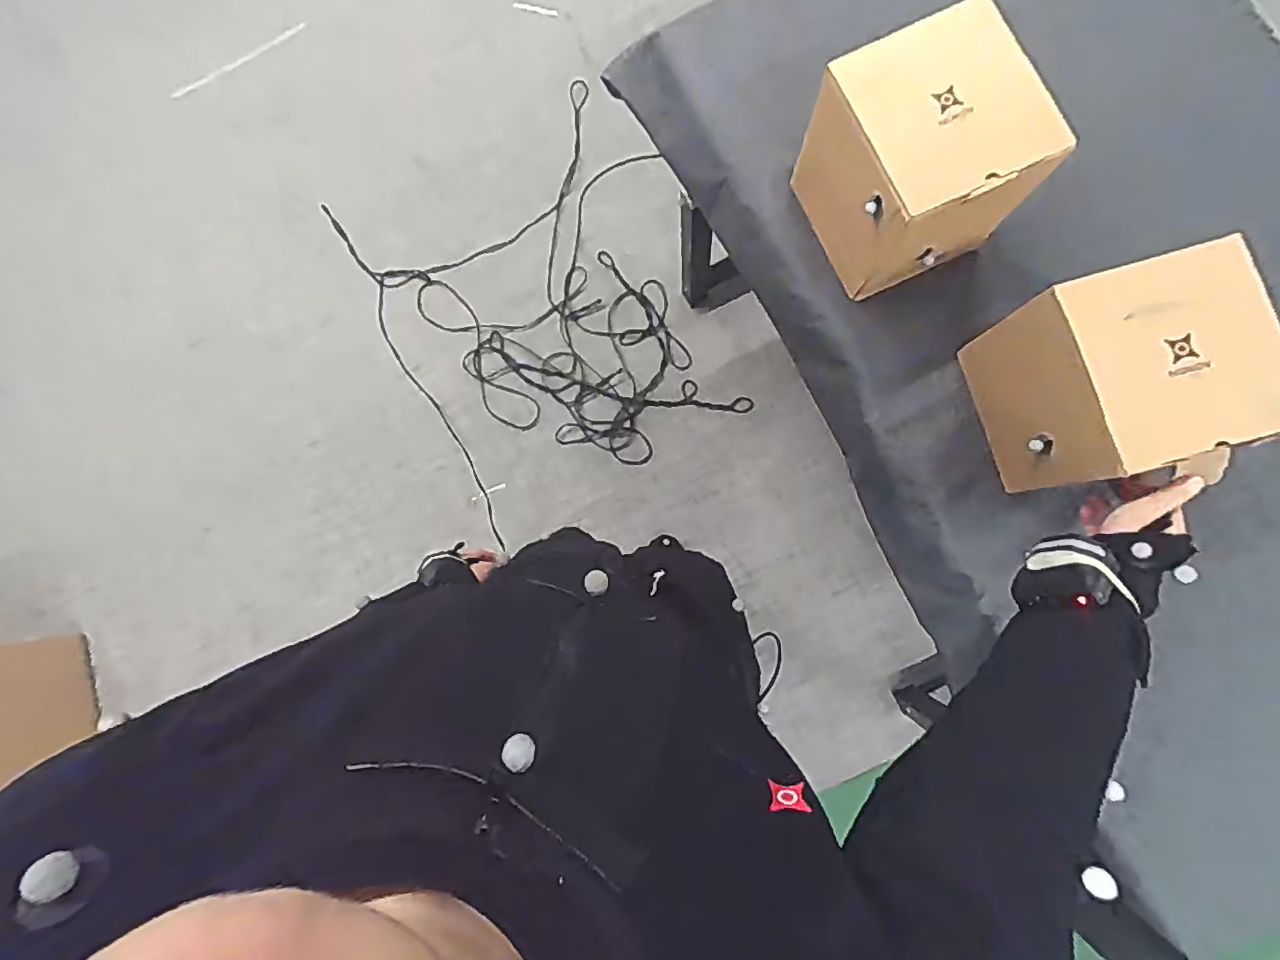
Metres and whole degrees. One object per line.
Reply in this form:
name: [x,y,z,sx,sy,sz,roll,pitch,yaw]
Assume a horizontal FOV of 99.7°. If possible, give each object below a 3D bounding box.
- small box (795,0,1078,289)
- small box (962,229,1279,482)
small box: [0.286,-0.339,0.570,0.168,0.176,0.179,-24,84,1]
small box: [0.460,-0.101,0.530,0.168,0.176,0.179,-16,82,2]
